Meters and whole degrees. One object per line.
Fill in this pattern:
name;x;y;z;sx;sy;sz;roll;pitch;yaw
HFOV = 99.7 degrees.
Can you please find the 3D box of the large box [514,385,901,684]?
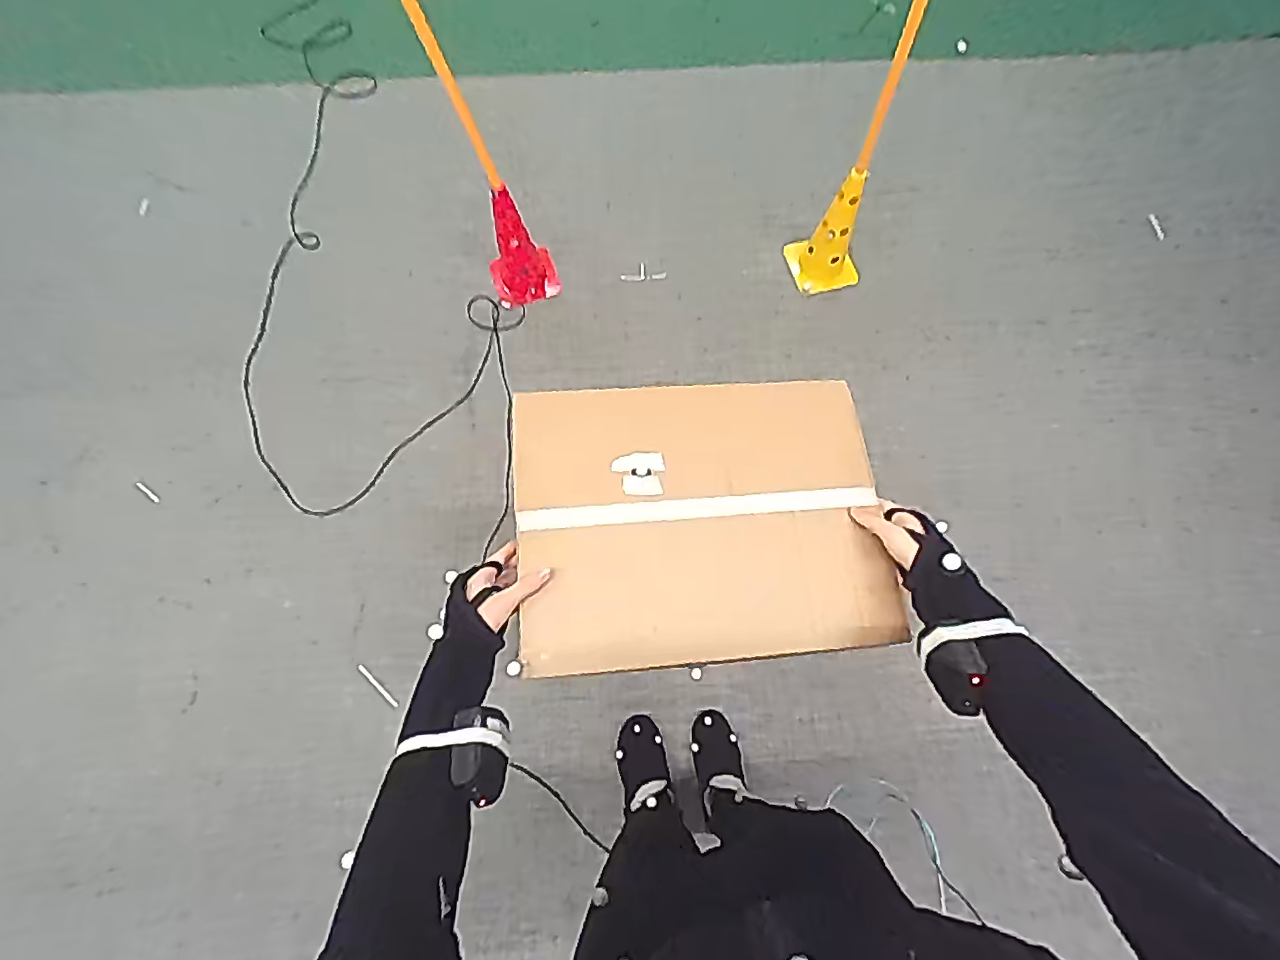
large box;0.058;0.091;0.738;0.408;0.320;0.320;-4;70;-5
